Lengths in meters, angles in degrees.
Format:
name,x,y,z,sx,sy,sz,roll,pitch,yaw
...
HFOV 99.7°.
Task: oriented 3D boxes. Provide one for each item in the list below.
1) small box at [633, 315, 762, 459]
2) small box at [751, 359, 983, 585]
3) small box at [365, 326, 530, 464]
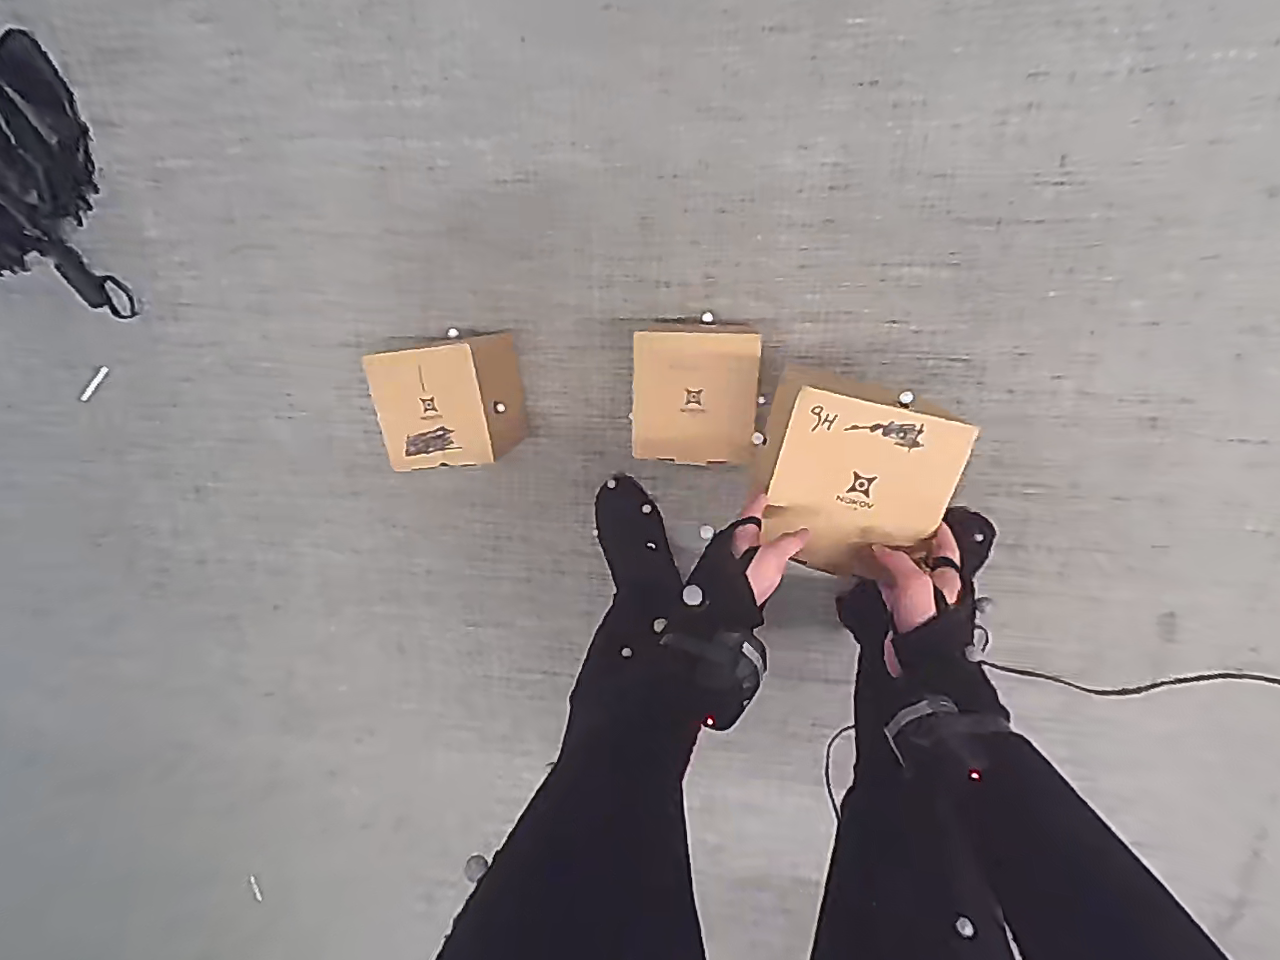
name,x,y,z,sx,sy,sz,roll,pitch,yaw
small box,0.083,-0.142,0.787,0.168,0.176,0.179,2,110,7
small box,0.226,-0.020,0.592,0.168,0.176,0.179,15,112,5
small box,-0.284,-0.136,0.844,0.168,0.176,0.179,-4,109,10
